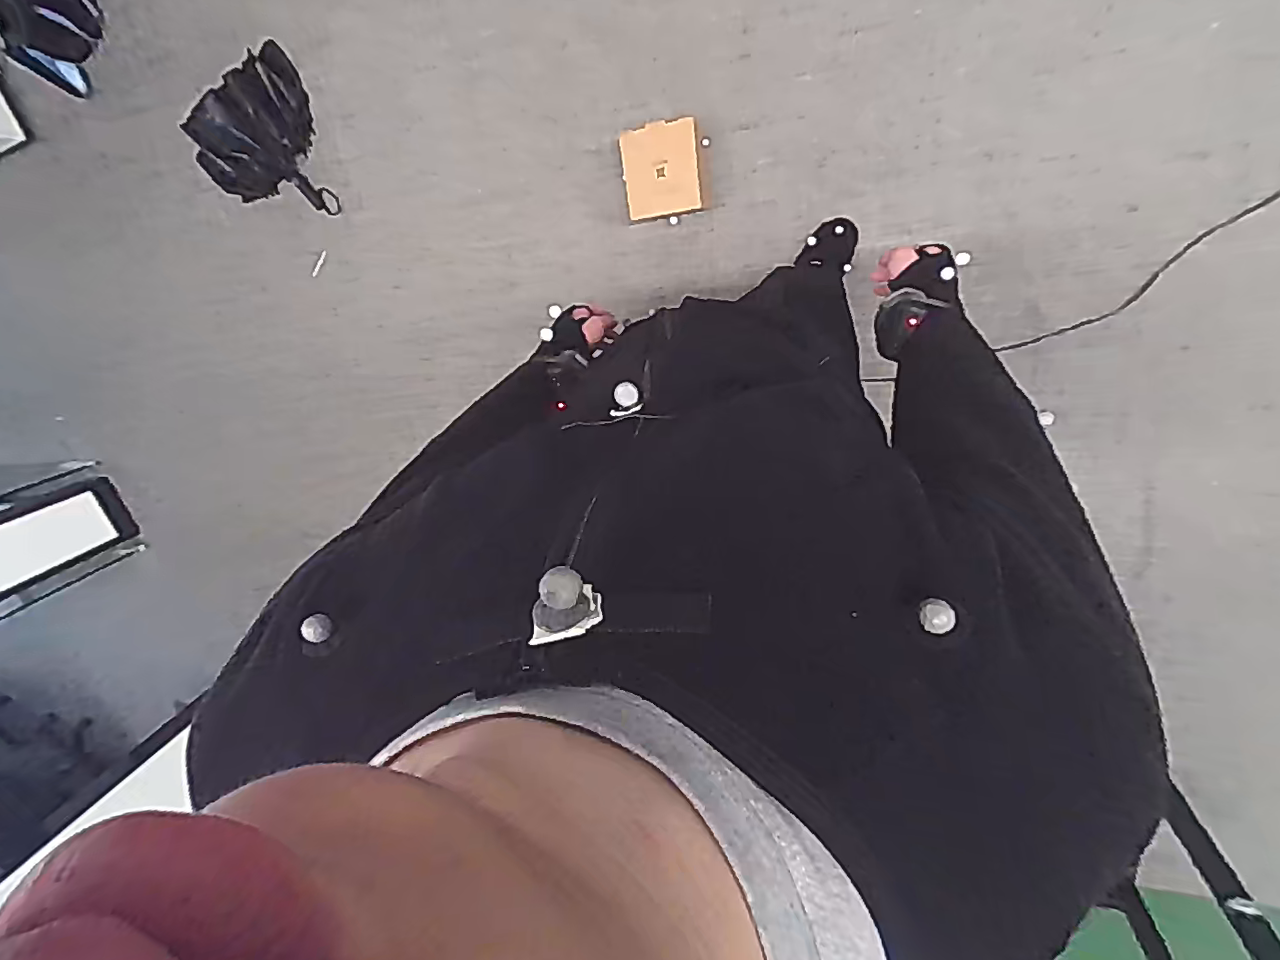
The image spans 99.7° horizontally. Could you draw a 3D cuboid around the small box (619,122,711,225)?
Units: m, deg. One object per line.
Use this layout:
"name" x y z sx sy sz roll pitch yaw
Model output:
"small box" 0.065 -0.696 1.247 0.168 0.176 0.179 -1 116 19
